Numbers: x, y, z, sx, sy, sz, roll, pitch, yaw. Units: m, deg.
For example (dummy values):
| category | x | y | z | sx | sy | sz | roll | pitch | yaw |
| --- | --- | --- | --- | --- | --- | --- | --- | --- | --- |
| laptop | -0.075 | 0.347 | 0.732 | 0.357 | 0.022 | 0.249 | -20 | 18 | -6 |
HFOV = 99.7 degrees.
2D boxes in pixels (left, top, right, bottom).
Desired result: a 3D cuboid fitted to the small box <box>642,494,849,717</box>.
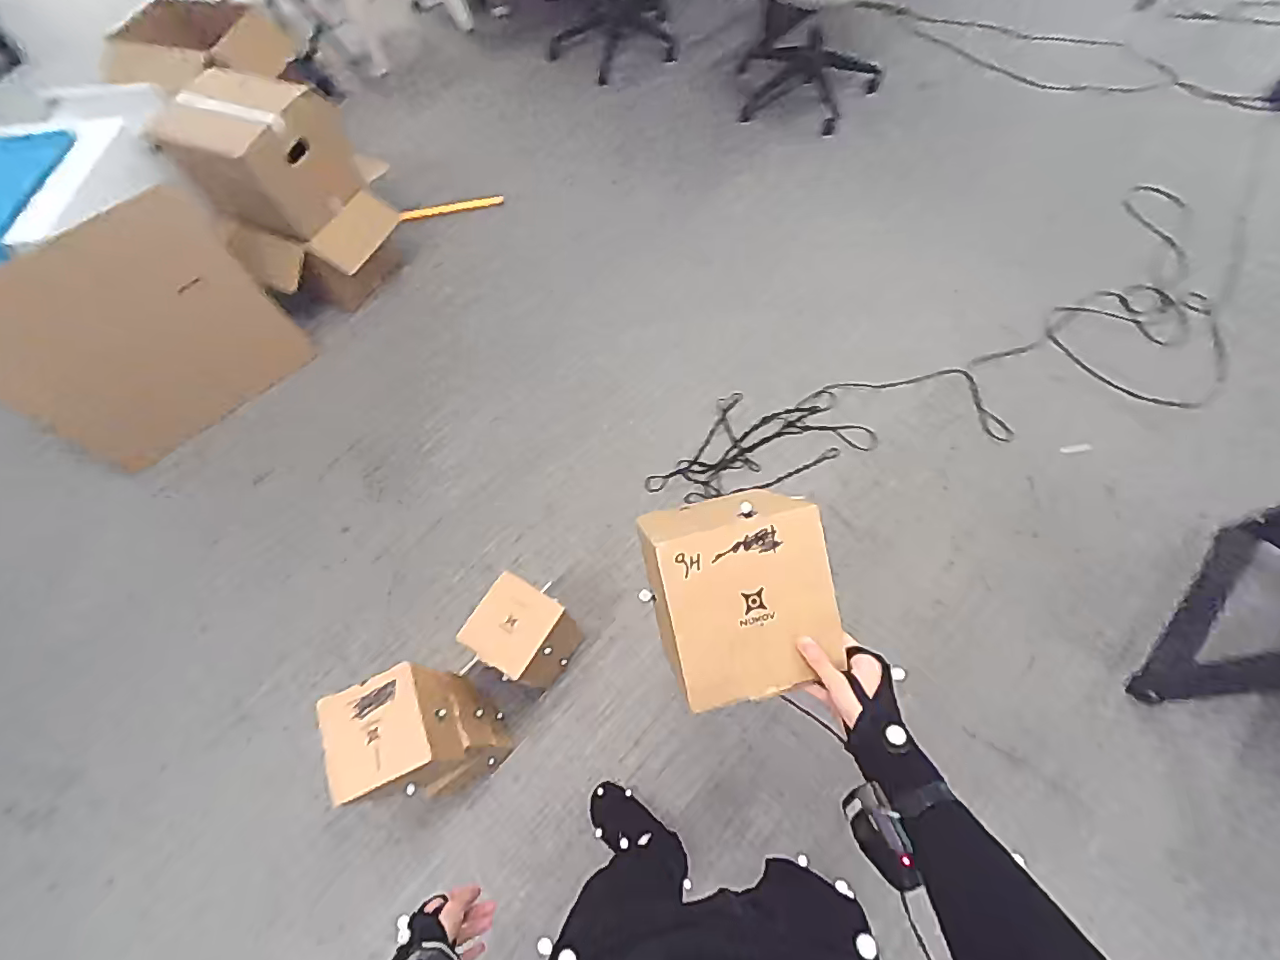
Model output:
| category | x | y | z | sx | sy | sz | roll | pitch | yaw |
| --- | --- | --- | --- | --- | --- | --- | --- | --- | --- |
| small box | 0.104 | 0.122 | 0.597 | 0.168 | 0.176 | 0.179 | -12 | 96 | -6 |

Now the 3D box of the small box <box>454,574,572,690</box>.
| category | x | y | z | sx | sy | sz | roll | pitch | yaw |
| --- | --- | --- | --- | --- | --- | --- | --- | --- | --- |
| small box | -0.268 | 0.342 | 1.197 | 0.168 | 0.176 | 0.179 | 28 | 69 | 16 |

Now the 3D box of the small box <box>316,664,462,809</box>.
| category | x | y | z | sx | sy | sz | roll | pitch | yaw |
| --- | --- | --- | --- | --- | --- | --- | --- | --- | --- |
| small box | -0.442 | 0.459 | 0.969 | 0.168 | 0.176 | 0.179 | -23 | 64 | -8 |

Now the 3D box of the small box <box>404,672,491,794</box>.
| category | x | y | z | sx | sy | sz | roll | pitch | yaw |
| --- | --- | --- | --- | --- | --- | --- | --- | --- | --- |
| small box | -0.436 | 0.528 | 1.118 | 0.179 | 0.176 | 0.168 | -28 | 64 | -11 |

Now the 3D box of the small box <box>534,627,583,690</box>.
| category | x | y | z | sx | sy | sz | roll | pitch | yaw |
| --- | --- | --- | --- | --- | --- | --- | --- | --- | --- |
| small box | -0.262 | 0.404 | 1.348 | 0.179 | 0.176 | 0.168 | 32 | 70 | 19 |
